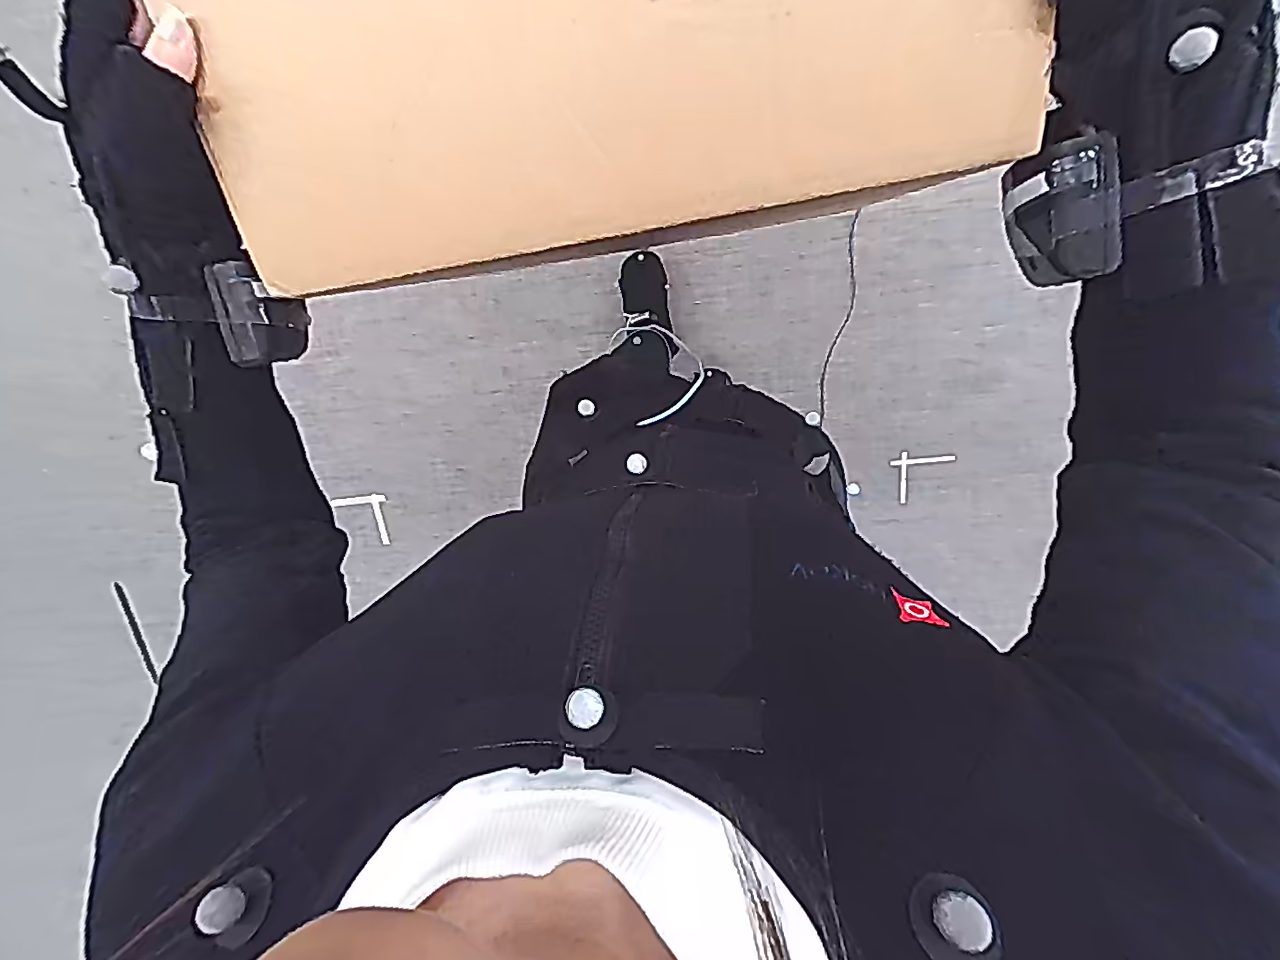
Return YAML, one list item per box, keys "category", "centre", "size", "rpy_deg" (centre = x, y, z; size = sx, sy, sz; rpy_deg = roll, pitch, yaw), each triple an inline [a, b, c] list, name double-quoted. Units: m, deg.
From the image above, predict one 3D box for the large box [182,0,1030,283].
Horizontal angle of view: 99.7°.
- category: "large box"
  centre: [-0.024, -0.339, 0.371]
  size: [0.408, 0.320, 0.320]
  rpy_deg: [-7, 113, 10]
